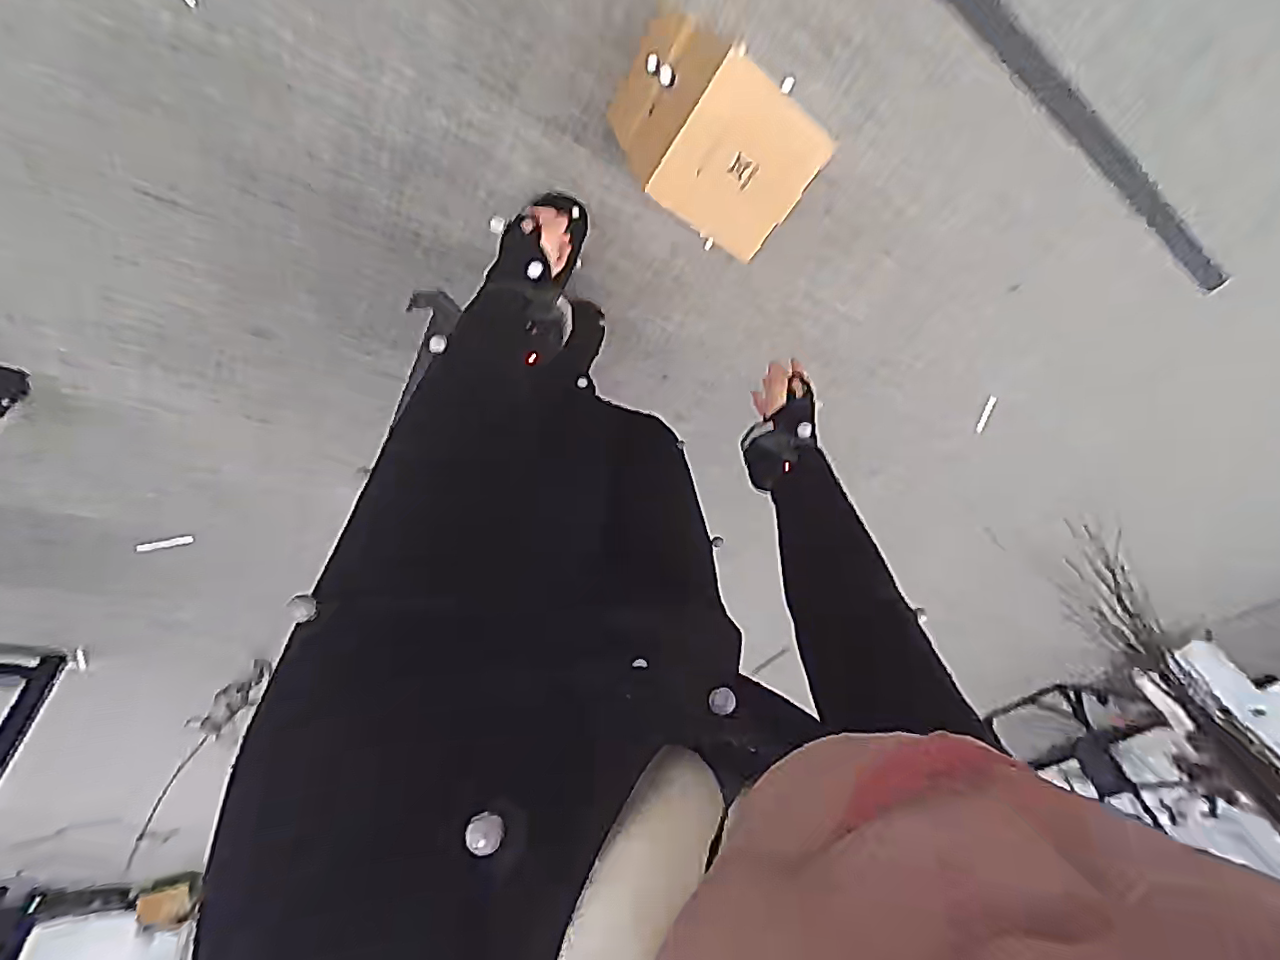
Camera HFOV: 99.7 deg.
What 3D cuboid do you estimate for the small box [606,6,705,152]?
[{"bbox_3d":[0.071,-0.542,0.787,0.179,0.176,0.168,17,130,-30],"label":"small box"}]

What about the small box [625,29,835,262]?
[{"bbox_3d":[0.102,-0.420,0.682,0.179,0.176,0.168,21,128,-31],"label":"small box"}]
